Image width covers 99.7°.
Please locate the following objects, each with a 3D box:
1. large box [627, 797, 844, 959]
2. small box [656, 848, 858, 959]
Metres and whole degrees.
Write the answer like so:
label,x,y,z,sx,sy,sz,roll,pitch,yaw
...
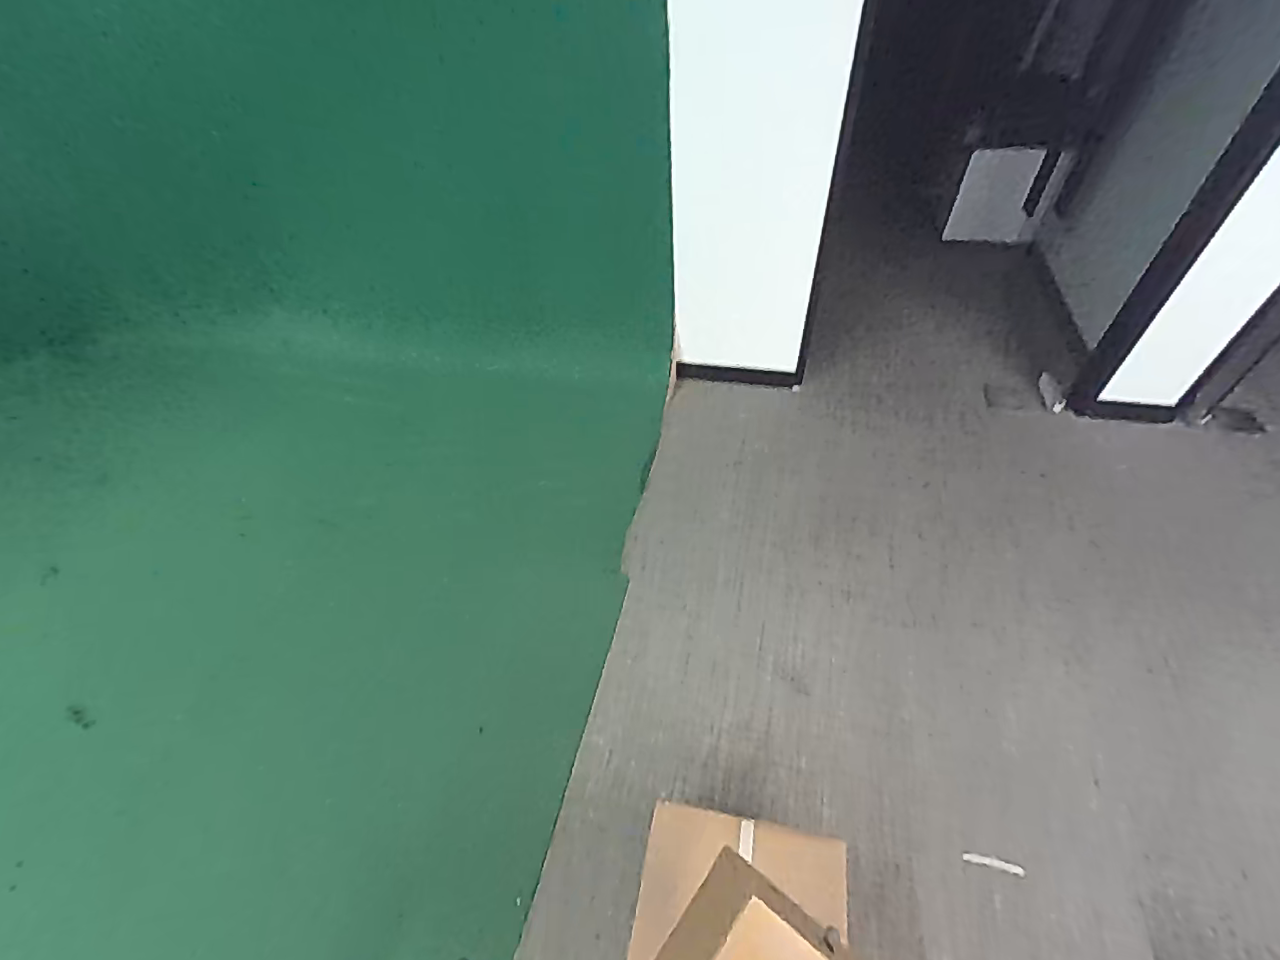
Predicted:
label,x,y,z,sx,sy,sz,roll,pitch,yaw
large box,0.147,0.809,0.884,0.320,0.320,0.408,7,49,11
small box,0.118,0.505,0.519,0.168,0.176,0.179,37,76,12
